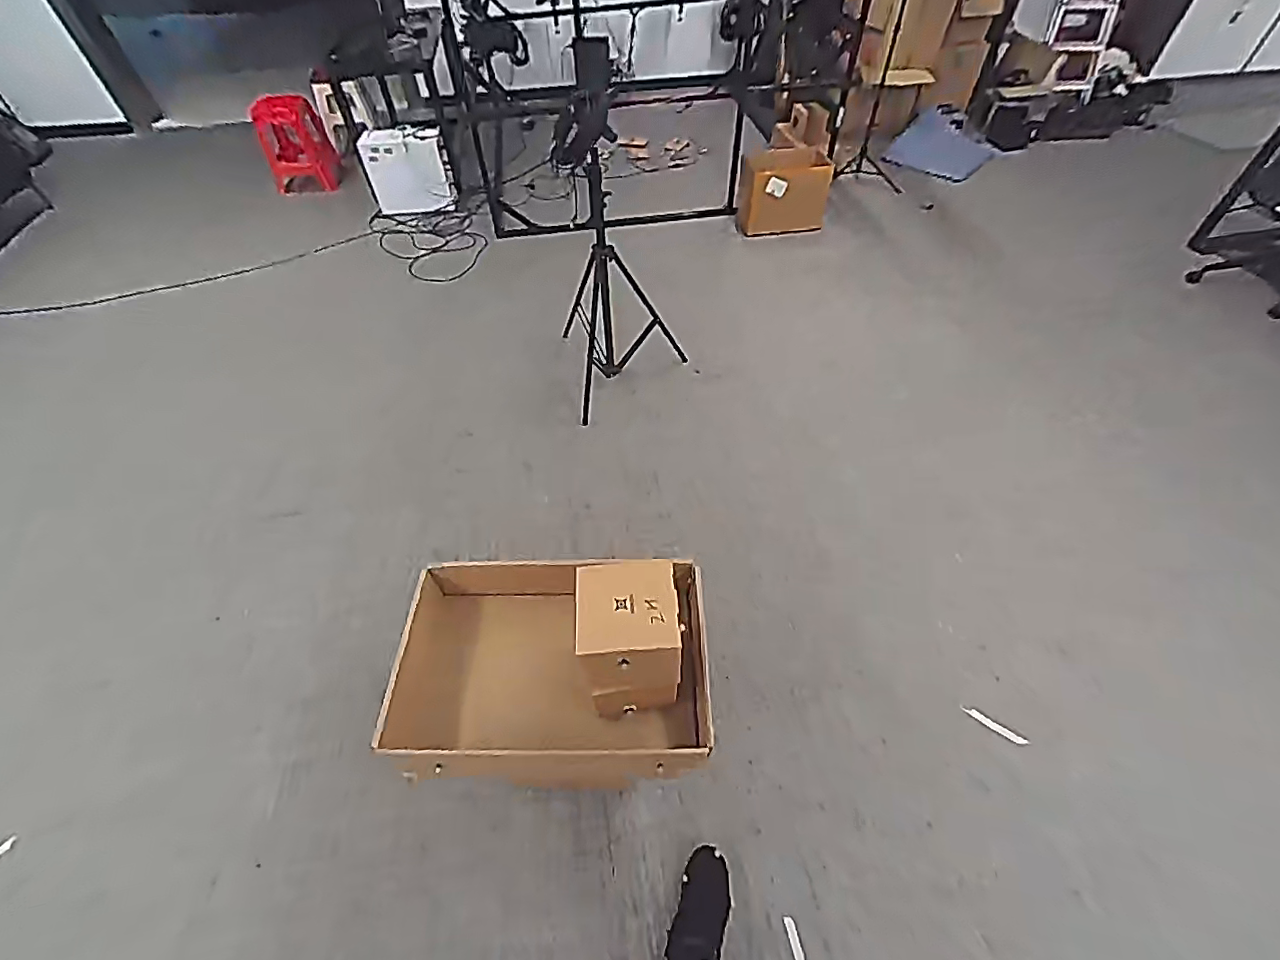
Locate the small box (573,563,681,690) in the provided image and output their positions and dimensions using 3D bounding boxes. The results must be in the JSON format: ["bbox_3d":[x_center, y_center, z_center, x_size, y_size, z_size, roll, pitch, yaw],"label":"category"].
[{"bbox_3d":[-0.020,0.268,0.974,0.179,0.176,0.168,-4,51,0],"label":"small box"}]
